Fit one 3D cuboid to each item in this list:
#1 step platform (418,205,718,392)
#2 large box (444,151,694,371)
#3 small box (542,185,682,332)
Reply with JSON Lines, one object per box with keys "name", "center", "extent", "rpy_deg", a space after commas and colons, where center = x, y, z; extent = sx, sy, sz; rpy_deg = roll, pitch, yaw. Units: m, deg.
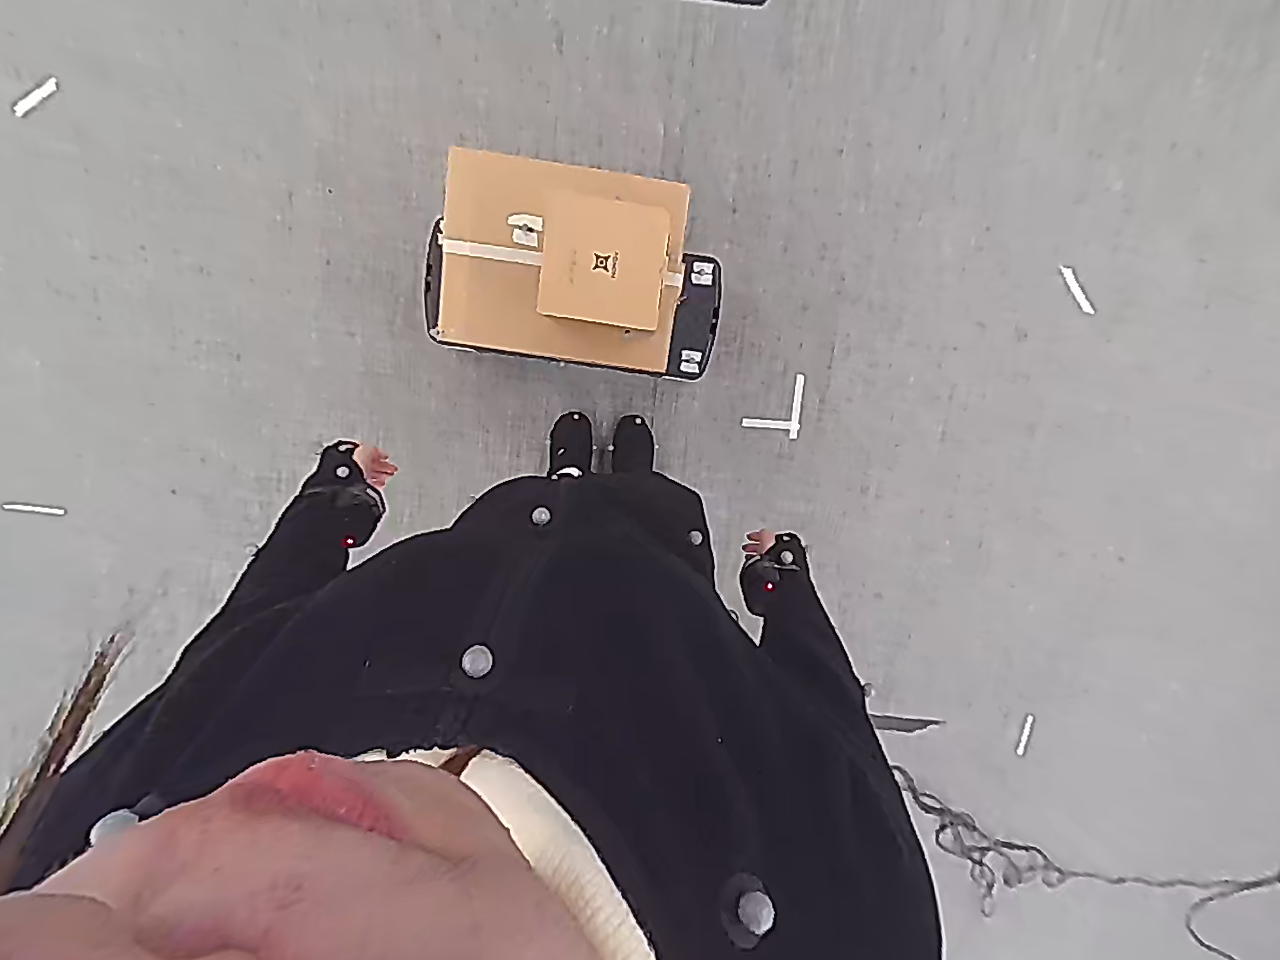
{"name": "step platform", "center": [-0.162, -0.418, 1.293], "extent": [0.684, 0.204, 0.286], "rpy_deg": [13, 101, -3]}
{"name": "large box", "center": [-0.124, -0.393, 1.056], "extent": [0.408, 0.320, 0.320], "rpy_deg": [8, 100, -2]}
{"name": "small box", "center": [-0.042, -0.321, 0.822], "extent": [0.179, 0.176, 0.168], "rpy_deg": [9, 102, -3]}
